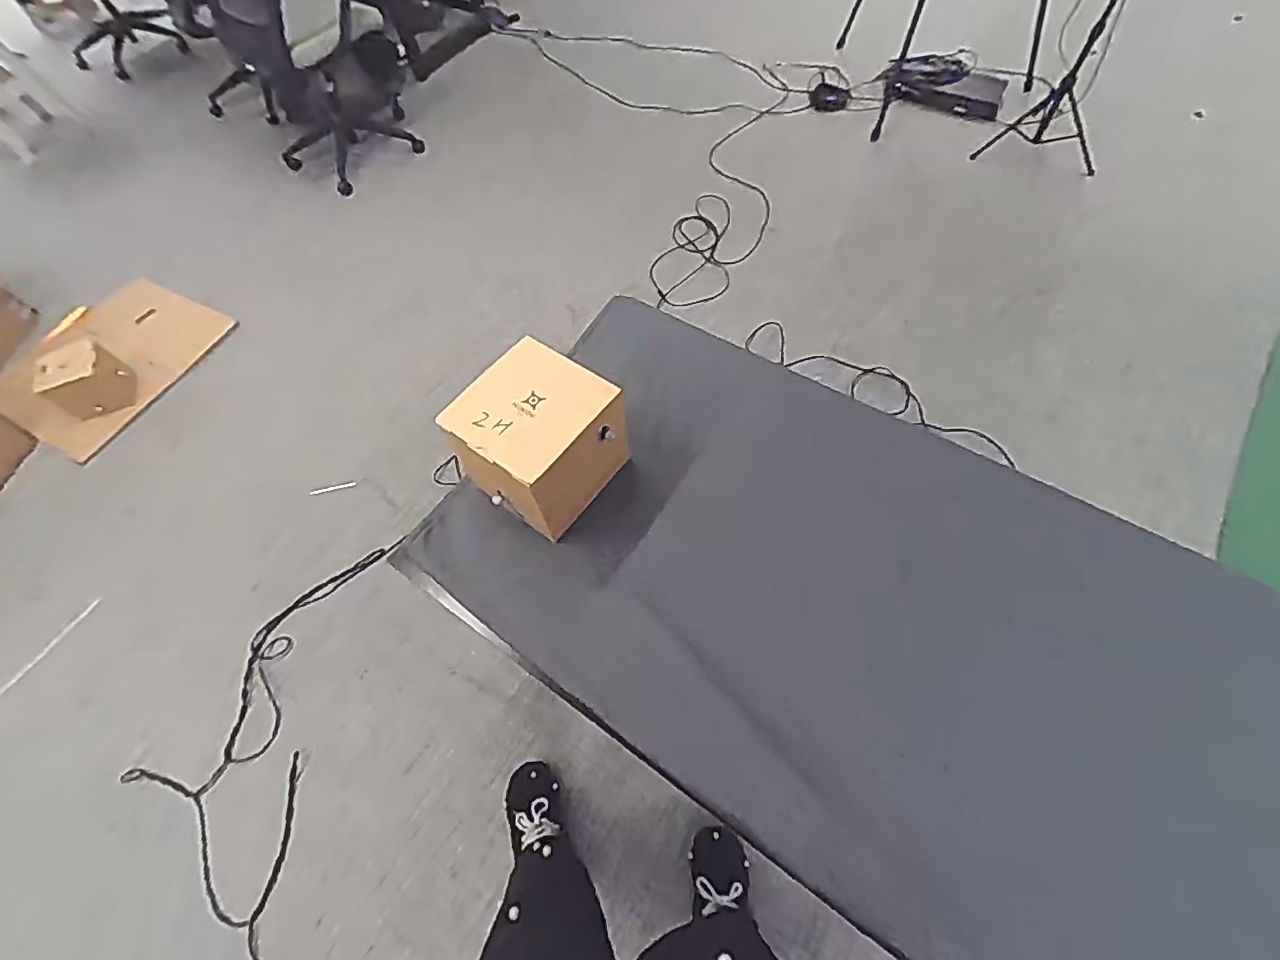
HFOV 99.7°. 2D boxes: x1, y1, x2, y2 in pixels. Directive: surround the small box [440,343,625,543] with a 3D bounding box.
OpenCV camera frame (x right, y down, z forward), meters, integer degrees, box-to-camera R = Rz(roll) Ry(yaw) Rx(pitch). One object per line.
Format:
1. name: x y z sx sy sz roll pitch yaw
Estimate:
1. small box: -0.133 -0.047 0.746 0.168 0.176 0.179 32 67 19
